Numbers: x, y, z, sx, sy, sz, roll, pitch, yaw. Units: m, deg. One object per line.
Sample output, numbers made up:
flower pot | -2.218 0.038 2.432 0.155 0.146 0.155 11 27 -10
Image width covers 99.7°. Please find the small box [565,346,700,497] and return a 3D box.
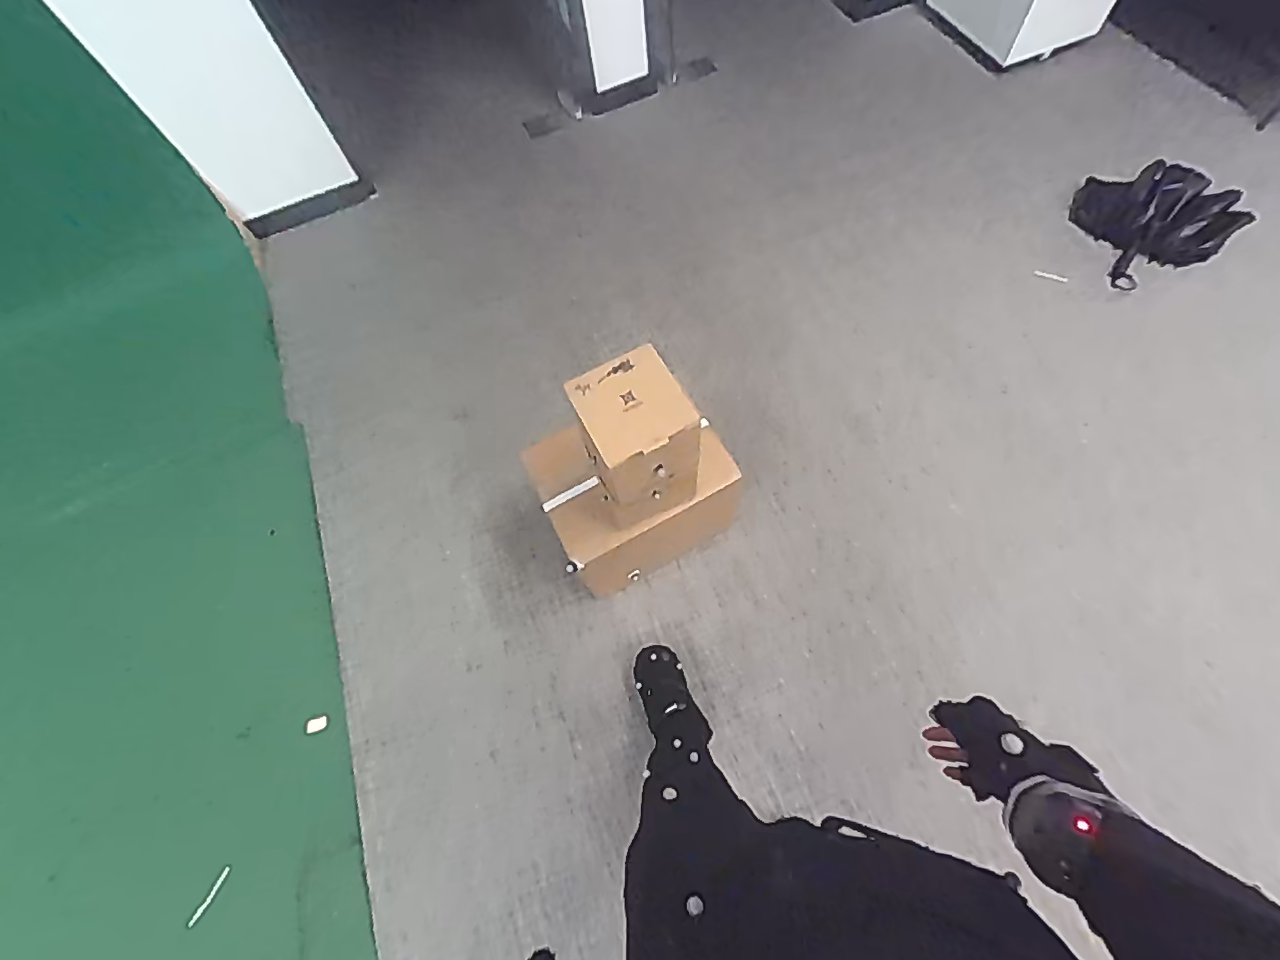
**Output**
small box | -0.006 -0.089 0.932 0.168 0.176 0.179 -27 68 -6

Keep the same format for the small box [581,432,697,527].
small box | 0.003 -0.027 1.083 0.179 0.176 0.168 -25 68 -6
